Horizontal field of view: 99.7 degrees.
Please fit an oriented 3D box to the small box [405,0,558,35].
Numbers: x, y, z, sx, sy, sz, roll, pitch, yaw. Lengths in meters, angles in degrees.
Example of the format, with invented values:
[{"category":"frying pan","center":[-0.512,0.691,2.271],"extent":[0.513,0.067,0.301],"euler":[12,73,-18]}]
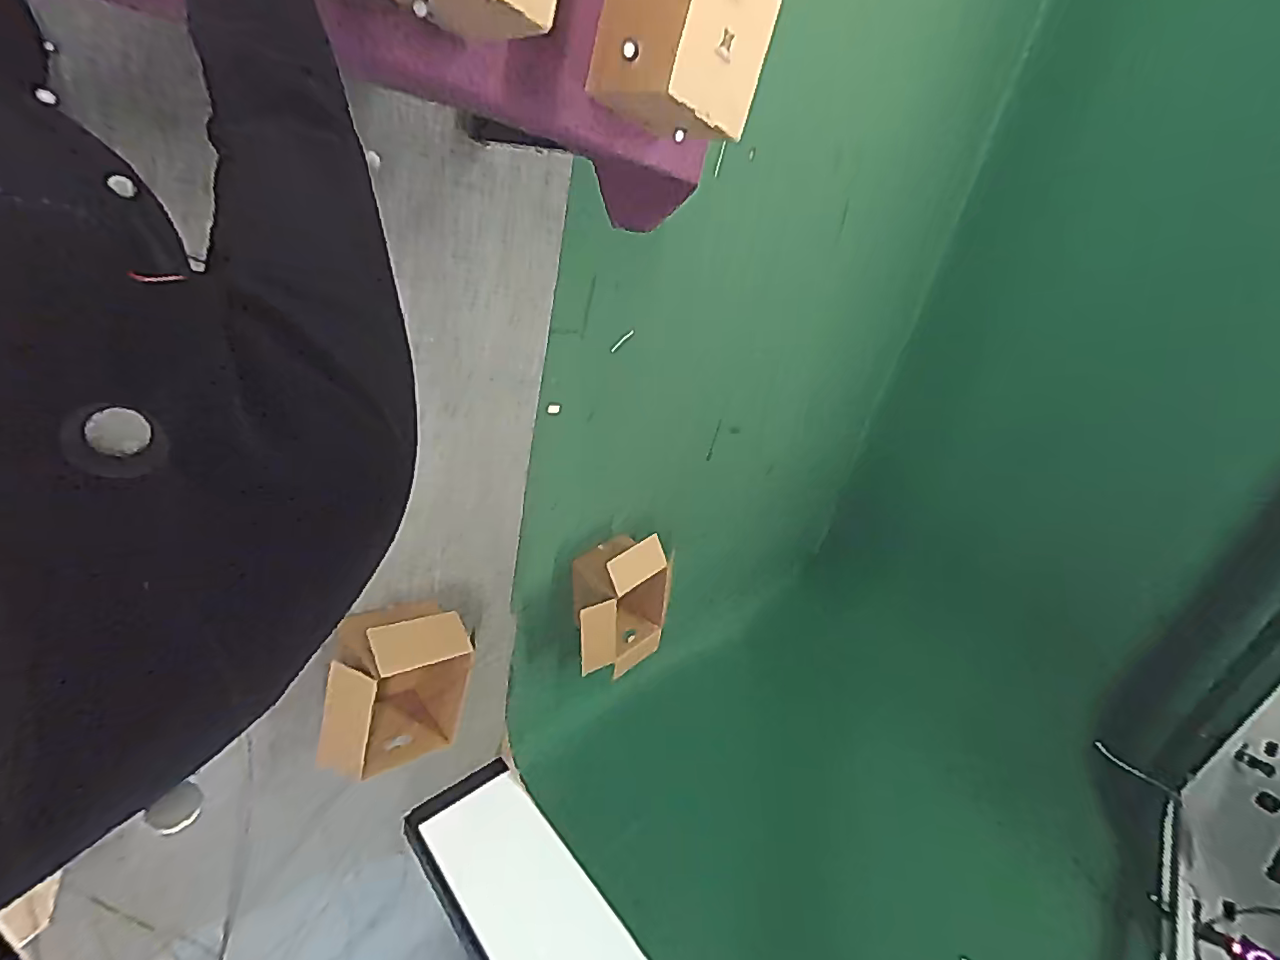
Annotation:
[{"category":"small box","center":[-0.174,-0.556,0.498],"extent":[0.168,0.176,0.179],"euler":[-5,119,-47]}]
